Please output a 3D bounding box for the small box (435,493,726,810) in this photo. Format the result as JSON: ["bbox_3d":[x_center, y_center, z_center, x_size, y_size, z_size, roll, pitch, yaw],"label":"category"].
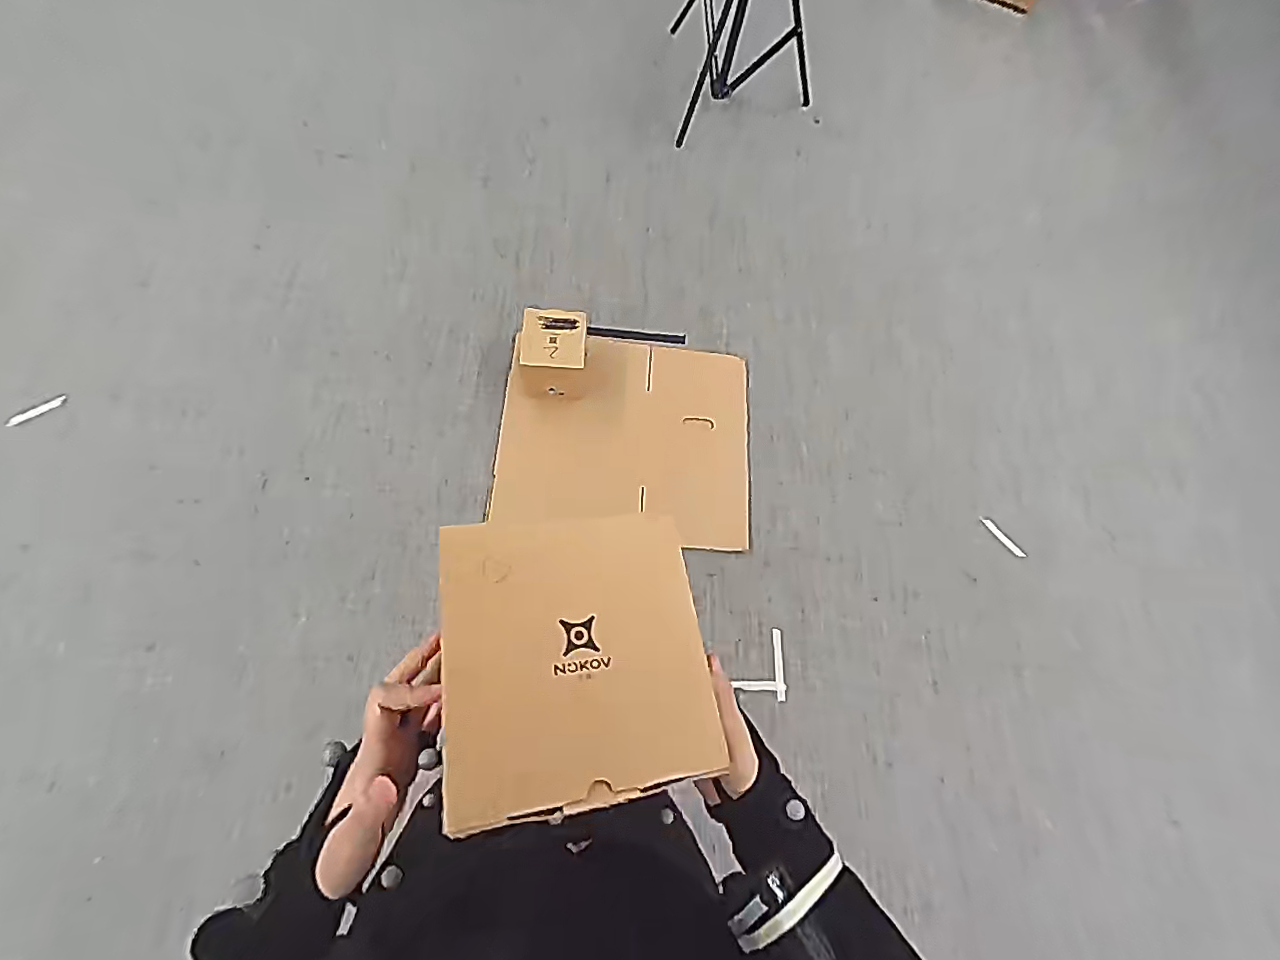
[{"bbox_3d":[-0.062,0.126,0.400,0.168,0.176,0.179,-3,63,-18],"label":"small box"}]
